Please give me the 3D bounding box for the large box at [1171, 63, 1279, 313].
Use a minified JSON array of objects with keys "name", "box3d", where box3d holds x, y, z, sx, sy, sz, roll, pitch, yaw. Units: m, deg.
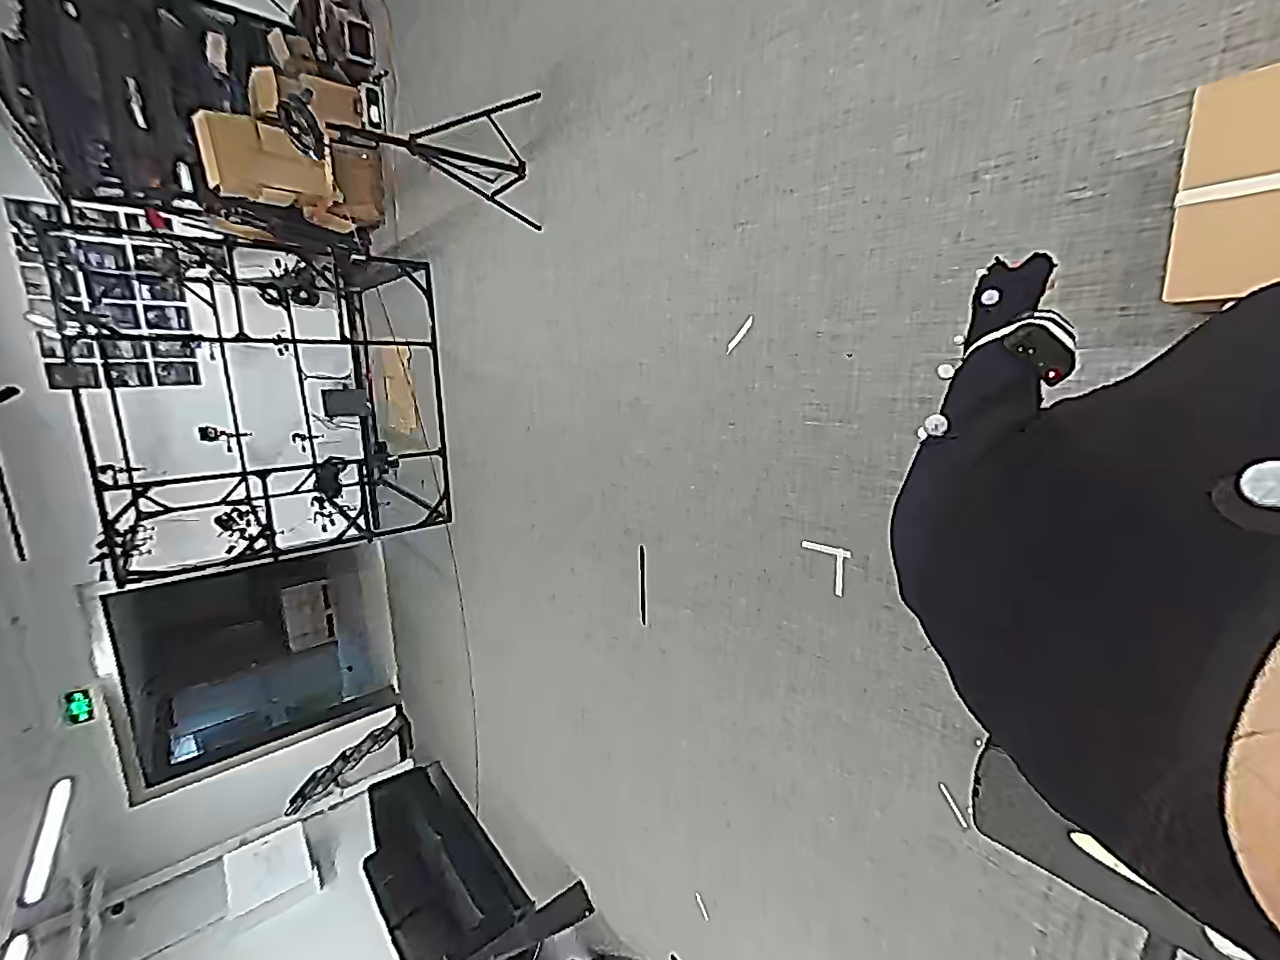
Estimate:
[{"name":"large box","box3d":[1.079,-0.432,0.780,0.408,0.320,0.320,11,107,49]}]
